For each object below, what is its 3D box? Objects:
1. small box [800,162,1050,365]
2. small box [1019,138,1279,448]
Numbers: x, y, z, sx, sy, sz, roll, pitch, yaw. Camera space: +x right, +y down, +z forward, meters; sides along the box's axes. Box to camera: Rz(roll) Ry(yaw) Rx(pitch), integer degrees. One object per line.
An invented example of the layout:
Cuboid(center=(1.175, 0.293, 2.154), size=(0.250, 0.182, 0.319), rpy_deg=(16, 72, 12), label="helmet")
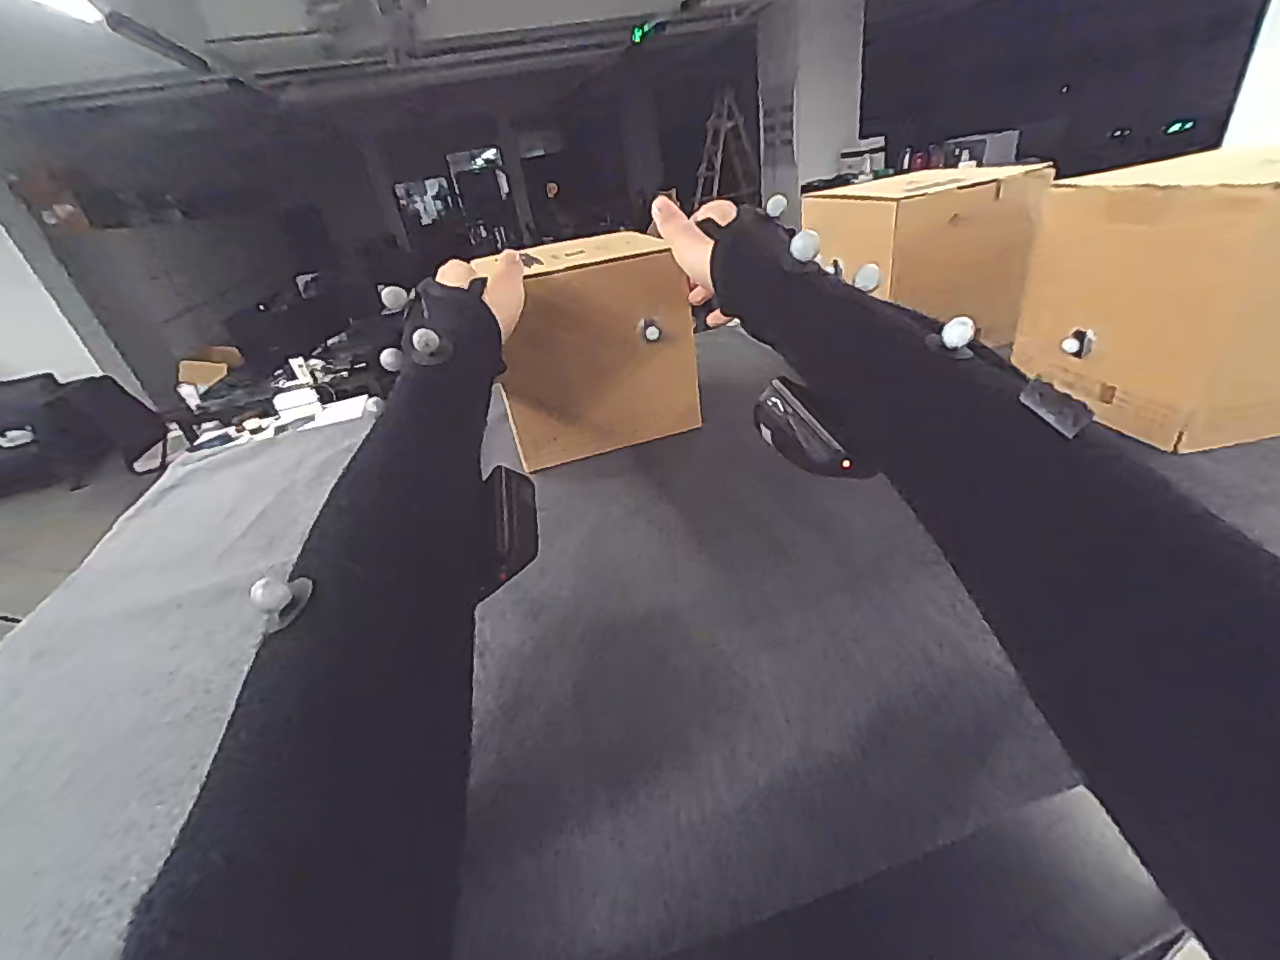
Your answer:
Cuboid(center=(0.295, -0.238, 0.599), size=(0.168, 0.176, 0.179), rpy_deg=(-15, 30, -8), label="small box")
Cuboid(center=(0.424, -0.142, 0.396), size=(0.179, 0.176, 0.168), rpy_deg=(-12, 29, -1), label="small box")
